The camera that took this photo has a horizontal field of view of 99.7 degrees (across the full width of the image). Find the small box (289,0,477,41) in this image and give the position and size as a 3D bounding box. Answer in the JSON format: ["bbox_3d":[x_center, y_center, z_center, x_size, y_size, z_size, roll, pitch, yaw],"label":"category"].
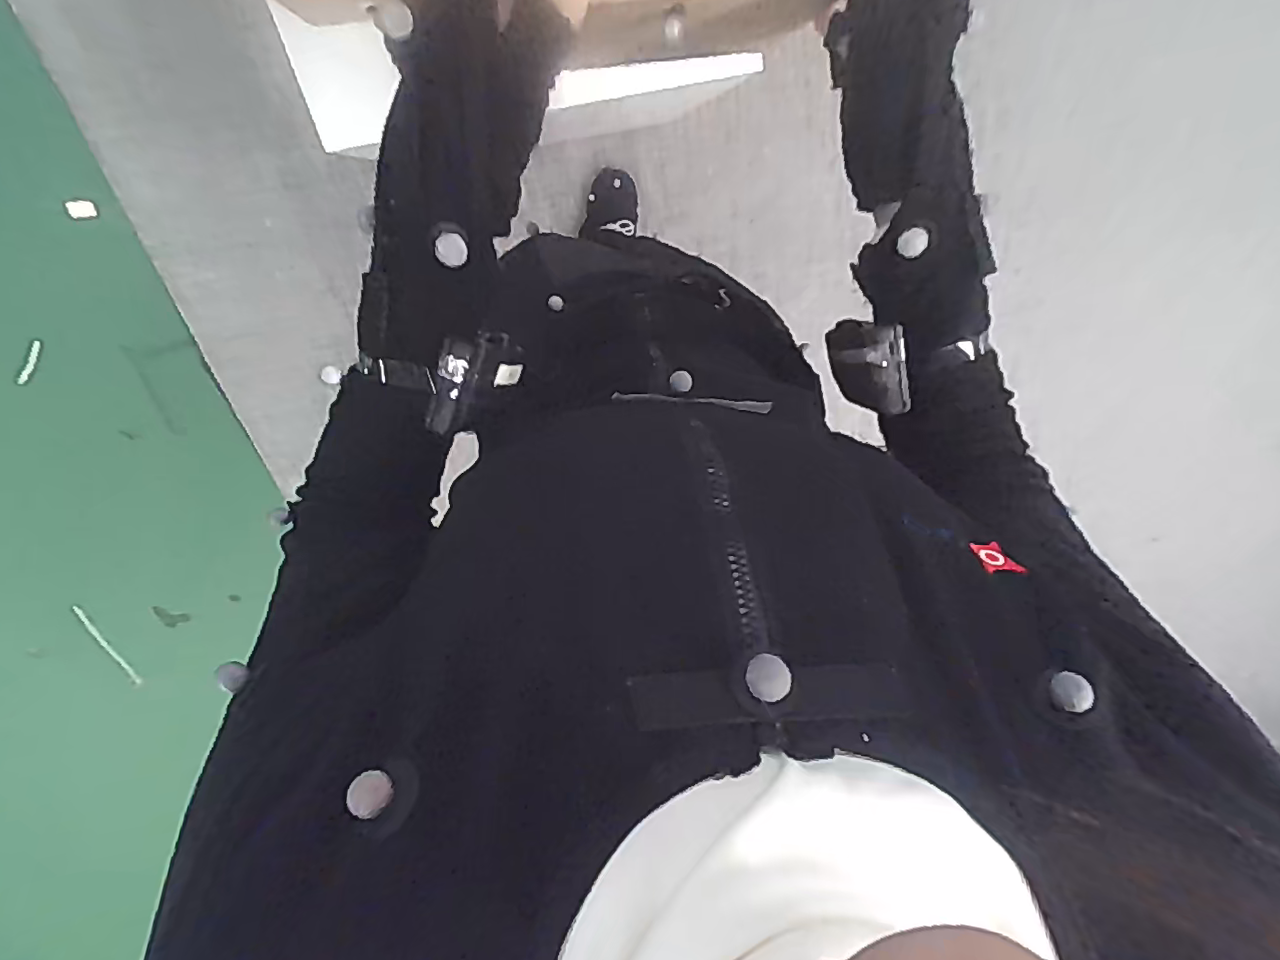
[{"bbox_3d":[-0.252,-0.513,0.457,0.168,0.176,0.179,-14,120,0],"label":"small box"}]

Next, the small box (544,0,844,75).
[{"bbox_3d":[0.018,-0.354,0.301,0.168,0.176,0.179,-8,119,-2],"label":"small box"}]
